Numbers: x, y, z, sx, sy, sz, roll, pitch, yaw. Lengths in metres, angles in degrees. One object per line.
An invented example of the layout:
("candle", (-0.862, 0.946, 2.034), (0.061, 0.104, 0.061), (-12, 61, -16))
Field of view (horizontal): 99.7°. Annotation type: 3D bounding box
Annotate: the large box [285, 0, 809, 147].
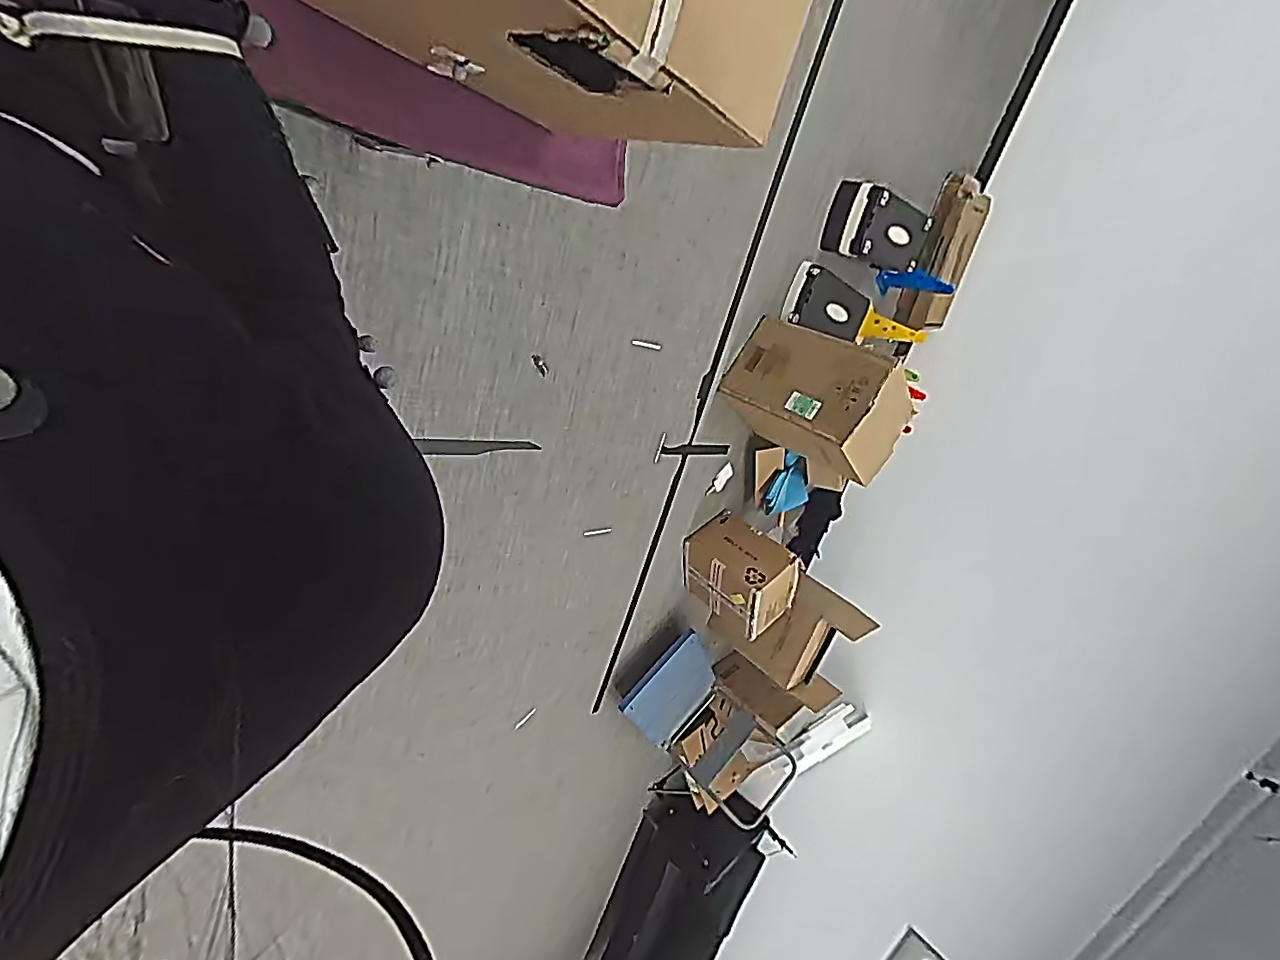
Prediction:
("large box", (-0.045, -0.518, 0.386), (0.320, 0.320, 0.408), (-5, 119, -48))
